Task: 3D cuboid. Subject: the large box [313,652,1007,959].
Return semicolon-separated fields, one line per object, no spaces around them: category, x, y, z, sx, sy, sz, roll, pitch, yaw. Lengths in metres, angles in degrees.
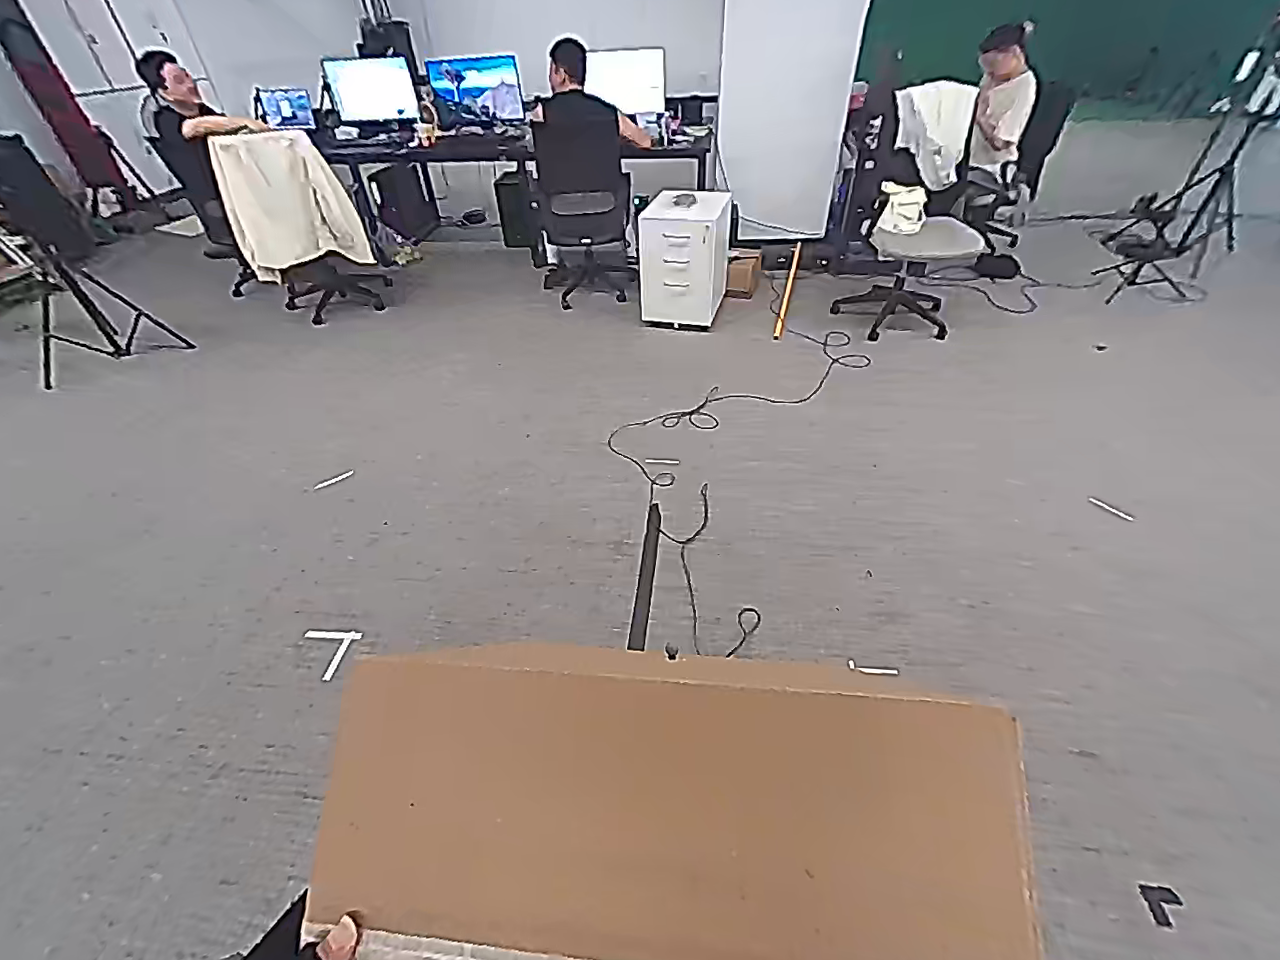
large box;0.017;0.321;0.450;0.408;0.320;0.320;1;75;7
